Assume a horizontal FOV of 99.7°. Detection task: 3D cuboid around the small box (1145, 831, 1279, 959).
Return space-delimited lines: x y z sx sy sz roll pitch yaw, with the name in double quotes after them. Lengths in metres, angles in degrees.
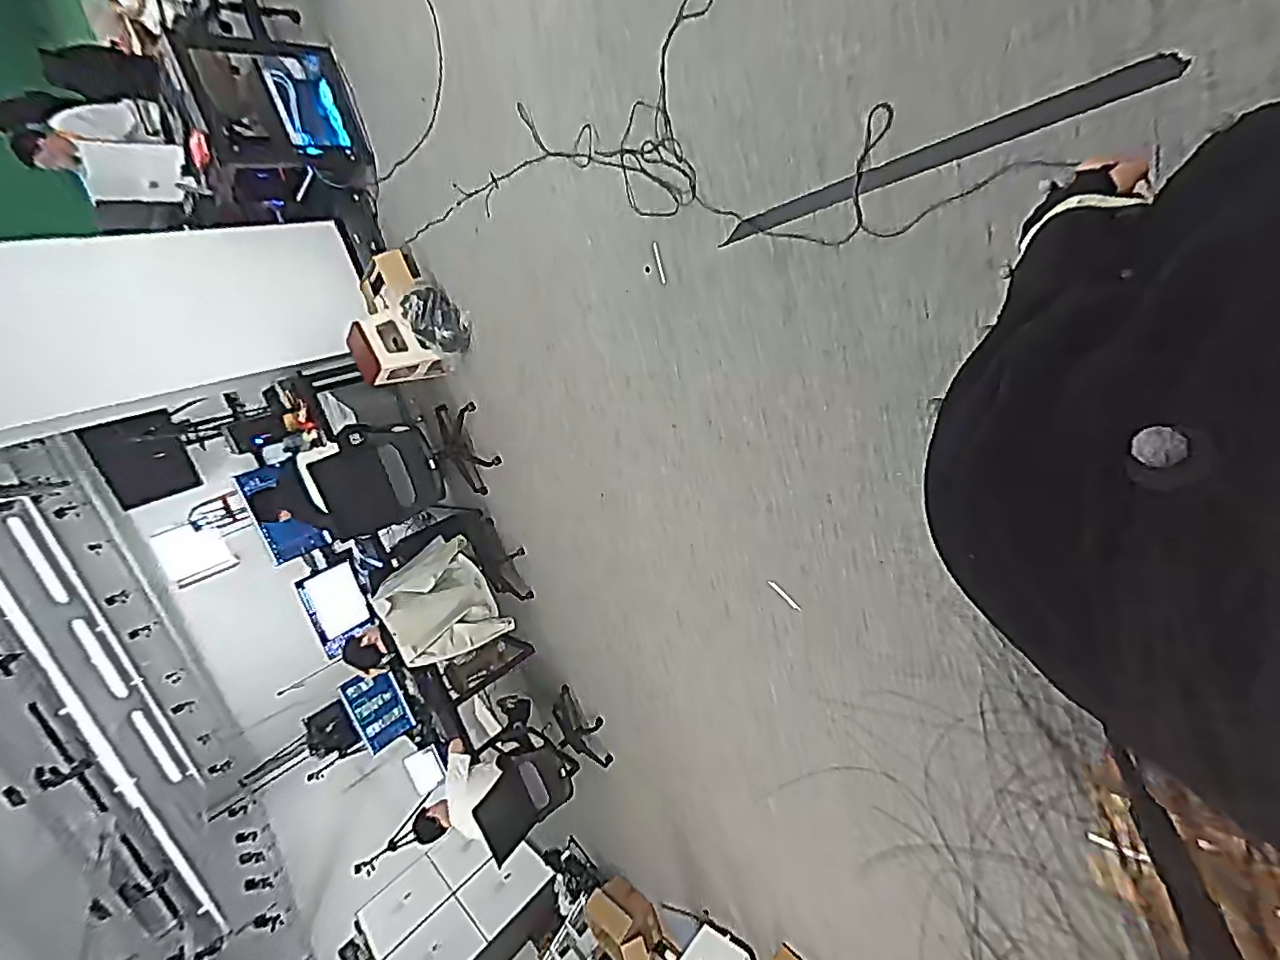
1.139 0.854 1.080 0.179 0.176 0.168 1 112 49 "small box"
